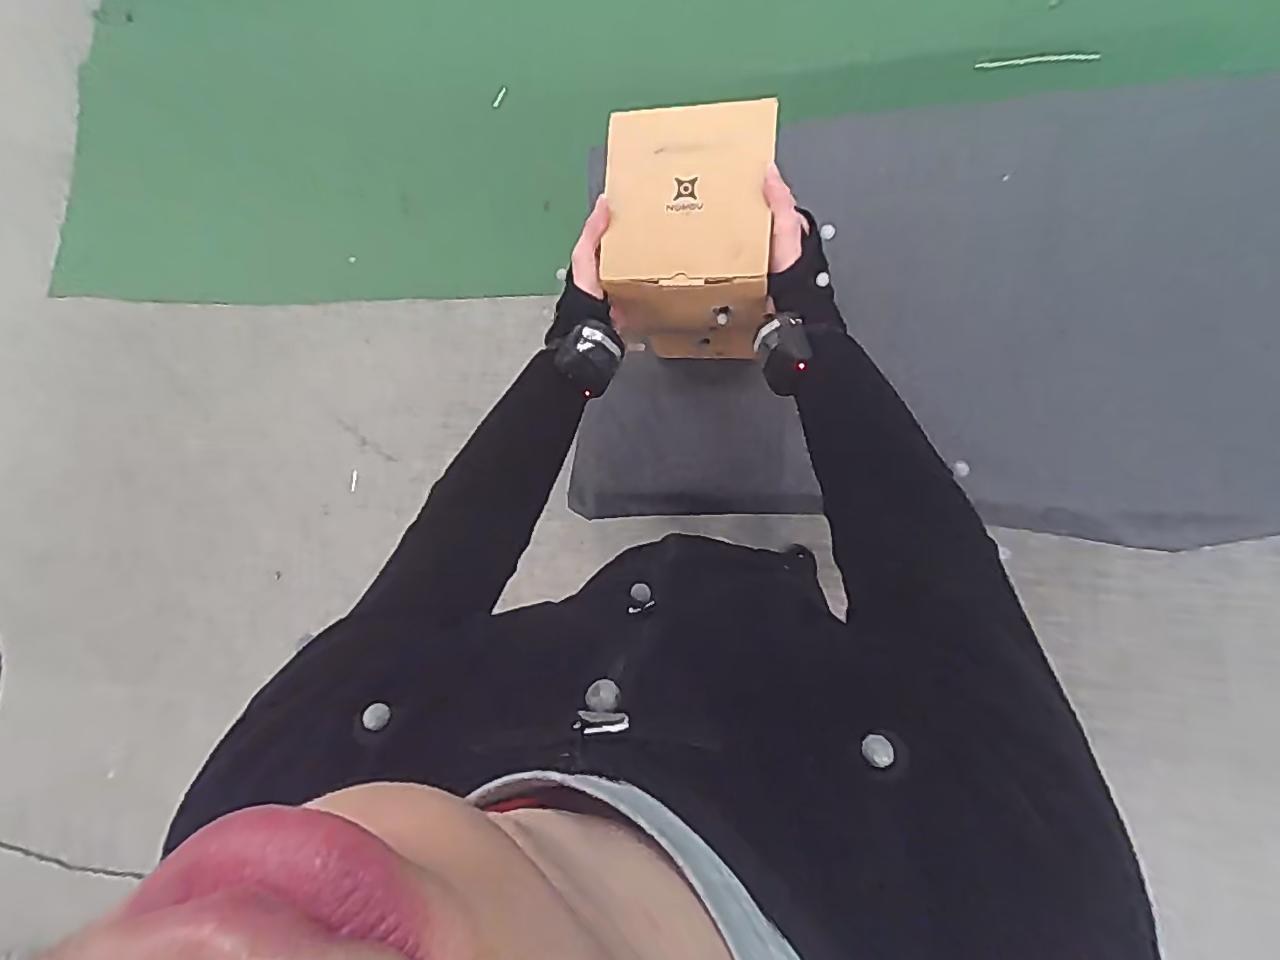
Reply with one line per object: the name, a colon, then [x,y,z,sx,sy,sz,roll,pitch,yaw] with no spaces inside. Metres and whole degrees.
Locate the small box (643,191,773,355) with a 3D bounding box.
small box: [0.102,-0.290,0.793,0.168,0.176,0.179,3,85,9]
